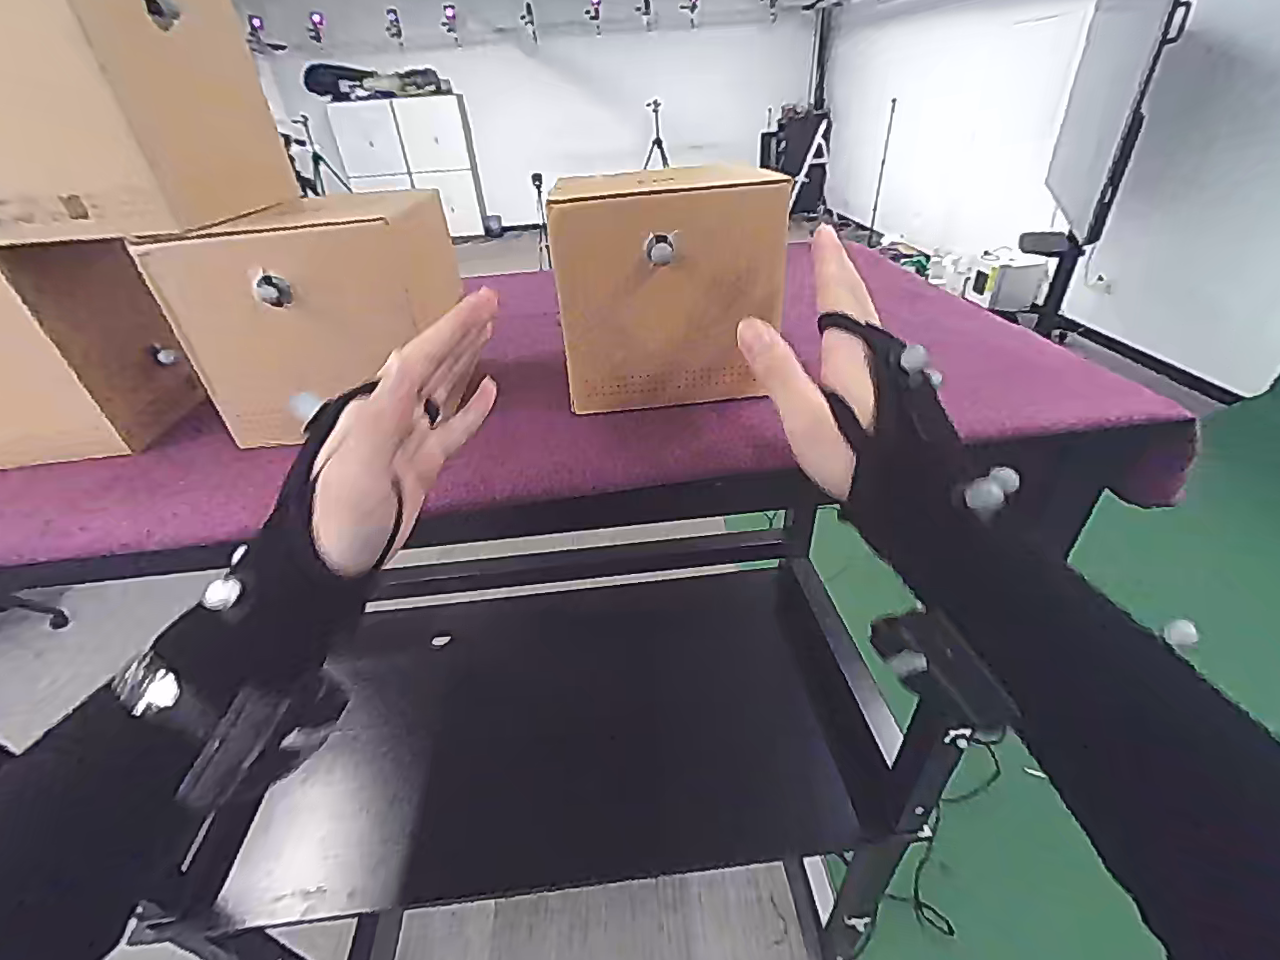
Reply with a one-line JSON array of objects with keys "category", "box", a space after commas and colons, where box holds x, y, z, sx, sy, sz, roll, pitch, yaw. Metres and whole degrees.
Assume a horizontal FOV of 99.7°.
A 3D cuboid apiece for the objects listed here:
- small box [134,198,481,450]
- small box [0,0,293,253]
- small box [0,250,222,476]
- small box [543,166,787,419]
[{"category": "small box", "box": [-0.258, -0.138, 0.477, 0.179, 0.176, 0.168, -6, 35, -2]}, {"category": "small box", "box": [-0.395, -0.267, 0.390, 0.168, 0.176, 0.179, -5, 34, -1]}, {"category": "small box", "box": [-0.525, -0.115, 0.475, 0.179, 0.176, 0.168, -7, 36, -3]}, {"category": "small box", "box": [0.019, -0.171, 0.488, 0.179, 0.176, 0.168, -7, 34, -1]}]
